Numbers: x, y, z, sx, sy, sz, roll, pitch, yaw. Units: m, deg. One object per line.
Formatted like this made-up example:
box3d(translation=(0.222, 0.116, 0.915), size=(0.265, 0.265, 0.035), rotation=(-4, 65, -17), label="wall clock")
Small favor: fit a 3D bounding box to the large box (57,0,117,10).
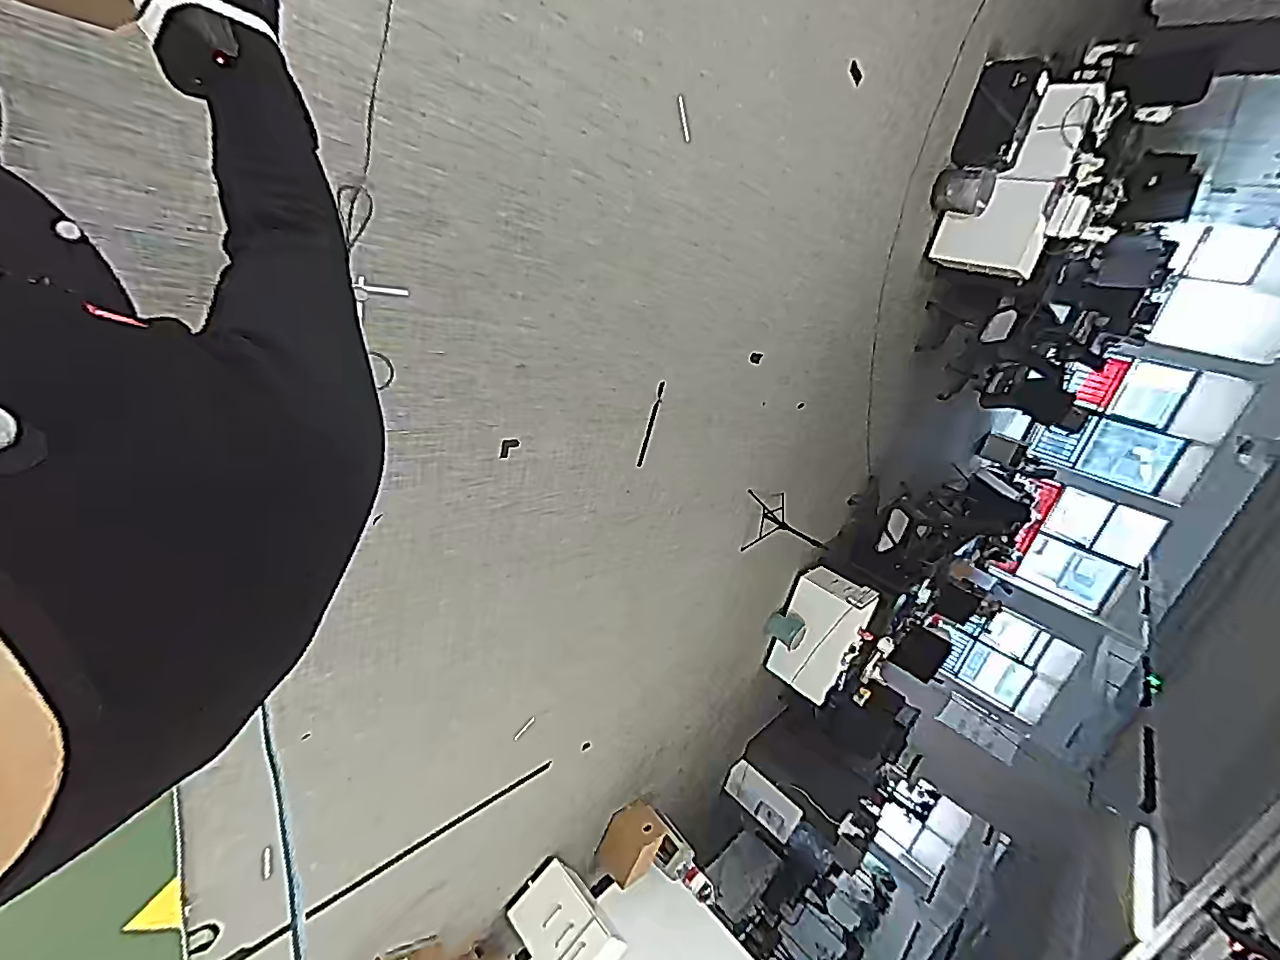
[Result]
box3d(translation=(-0.568, -0.530, 0.285), size=(0.408, 0.320, 0.320), rotation=(-15, 127, -47), label="large box")
